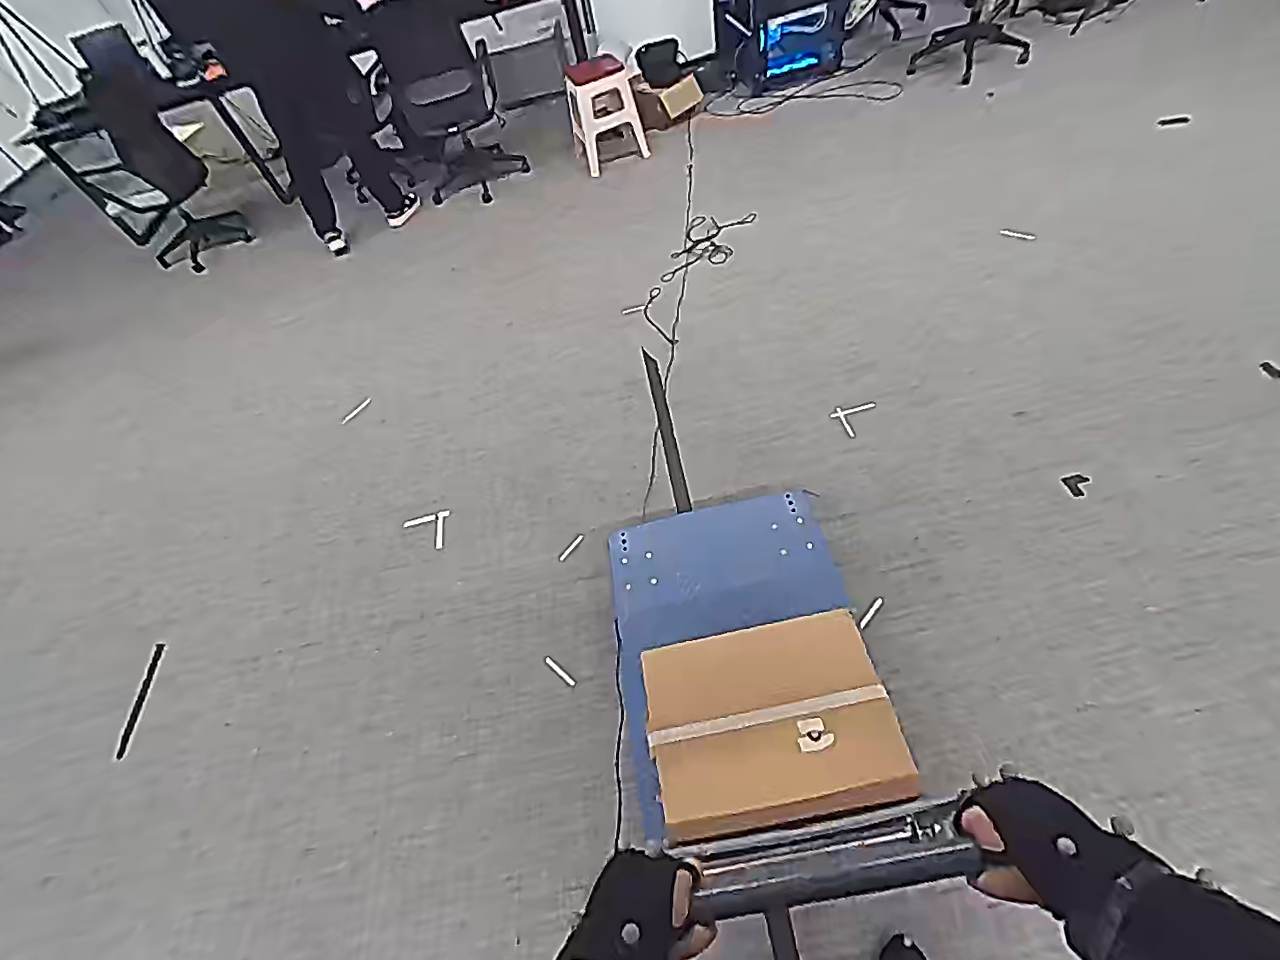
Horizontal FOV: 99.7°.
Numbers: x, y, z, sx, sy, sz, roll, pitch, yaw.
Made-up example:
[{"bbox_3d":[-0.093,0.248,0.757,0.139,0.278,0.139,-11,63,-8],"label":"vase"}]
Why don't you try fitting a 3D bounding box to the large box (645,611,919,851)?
[{"bbox_3d":[0.249,0.501,1.061,0.408,0.320,0.320,-13,53,3],"label":"large box"}]
